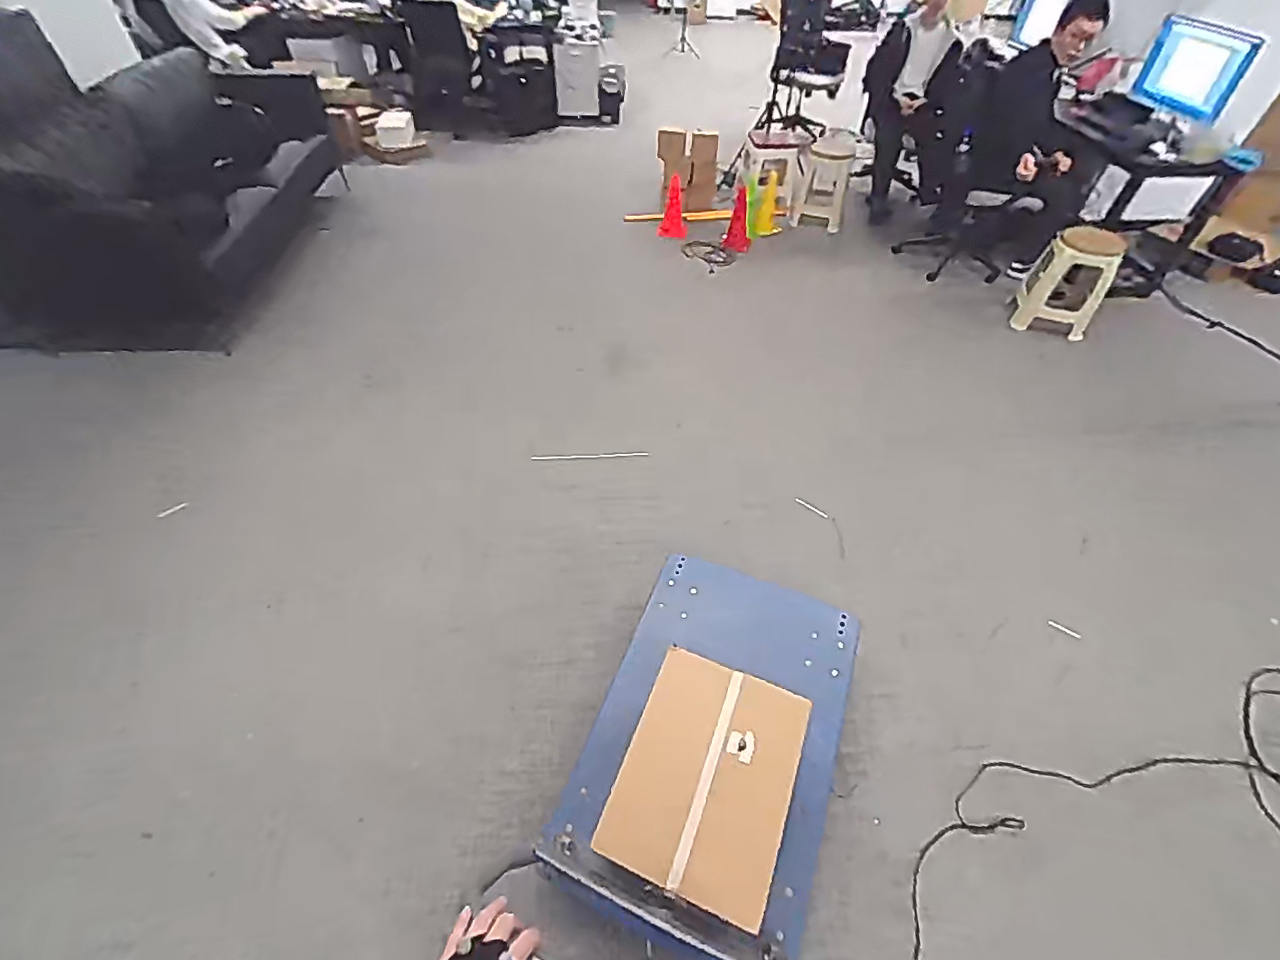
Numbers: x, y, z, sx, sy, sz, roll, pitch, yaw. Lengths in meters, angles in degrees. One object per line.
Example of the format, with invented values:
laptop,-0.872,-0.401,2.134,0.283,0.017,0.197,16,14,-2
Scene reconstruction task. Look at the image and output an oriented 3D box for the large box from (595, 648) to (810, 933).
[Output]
large box,0.137,0.647,1.147,0.320,0.320,0.408,18,55,15
